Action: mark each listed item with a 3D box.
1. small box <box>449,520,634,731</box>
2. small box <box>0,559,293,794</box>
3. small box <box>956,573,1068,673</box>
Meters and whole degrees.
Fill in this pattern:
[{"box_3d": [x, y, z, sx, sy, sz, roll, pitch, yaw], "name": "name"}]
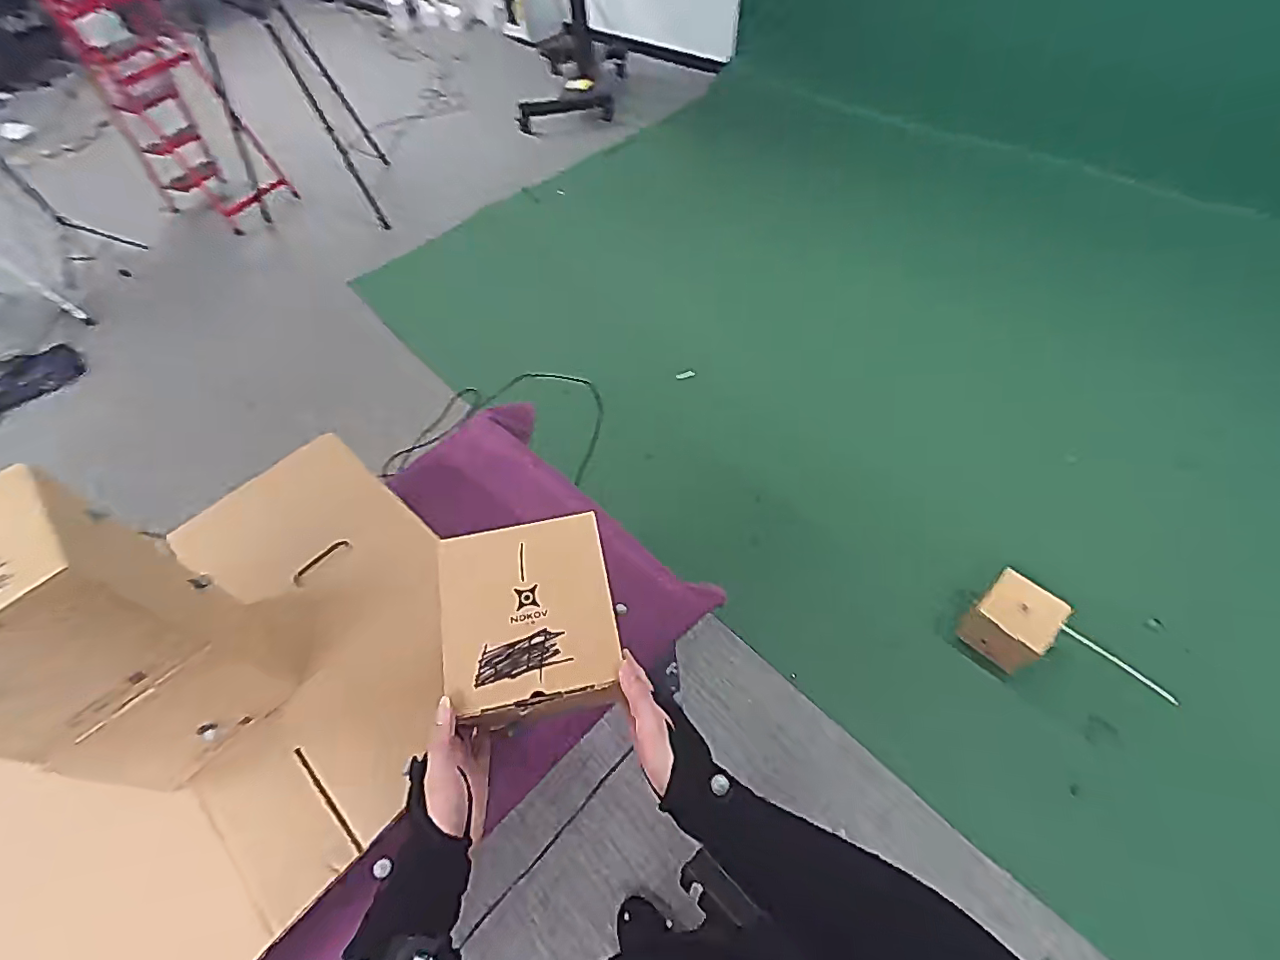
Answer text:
[{"box_3d": [-0.100, 0.167, 0.592, 0.168, 0.176, 0.179, -10, 62, -6], "name": "small box"}, {"box_3d": [-0.559, 0.233, 0.633, 0.179, 0.176, 0.168, 36, 63, 26], "name": "small box"}, {"box_3d": [1.003, 0.392, 1.474, 0.179, 0.176, 0.168, -41, 61, -20], "name": "small box"}]
